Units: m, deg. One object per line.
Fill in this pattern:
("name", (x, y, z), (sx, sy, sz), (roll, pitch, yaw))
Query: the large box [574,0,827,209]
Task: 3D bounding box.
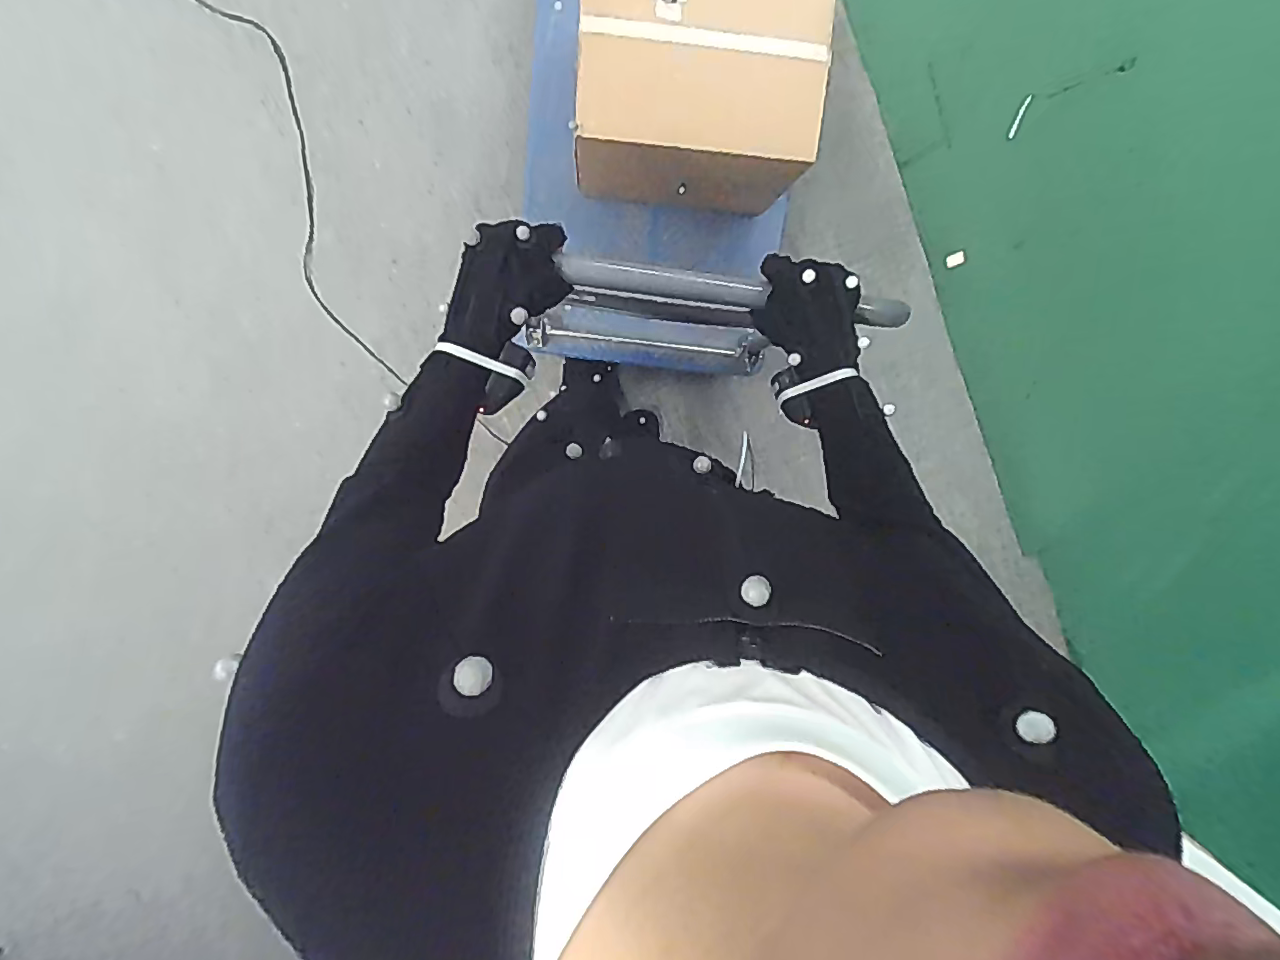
("large box", (0.089, -0.724, 1.011), (0.408, 0.320, 0.320), (3, 100, -5))
